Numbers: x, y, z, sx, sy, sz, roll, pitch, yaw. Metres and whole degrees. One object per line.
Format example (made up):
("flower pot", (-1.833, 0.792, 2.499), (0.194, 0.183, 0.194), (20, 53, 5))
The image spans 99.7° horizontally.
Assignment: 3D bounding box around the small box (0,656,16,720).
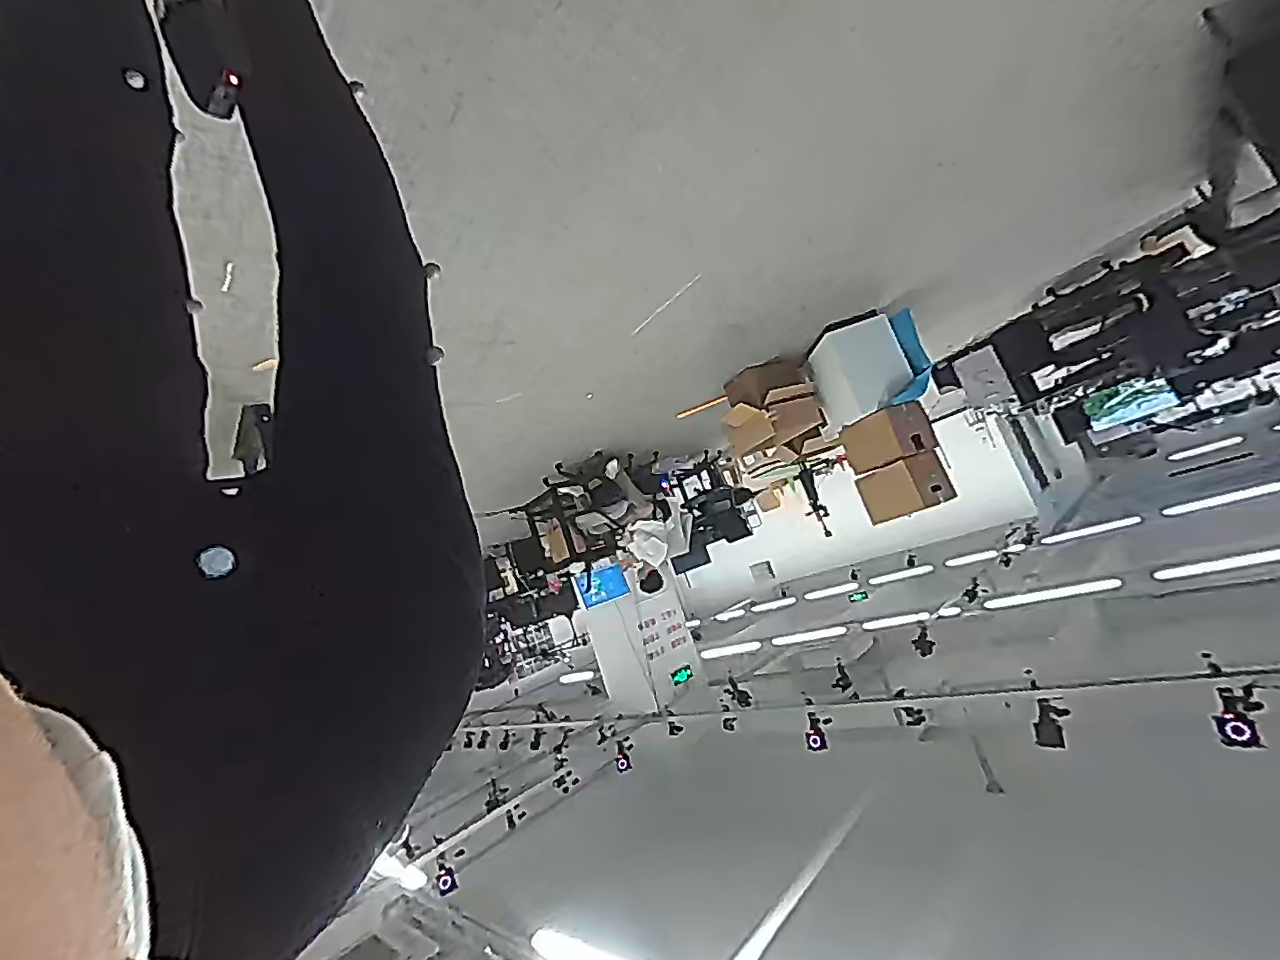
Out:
("small box", (-1.844, 0.591, 1.465), (0.179, 0.176, 0.168), (-9, 167, -47))
